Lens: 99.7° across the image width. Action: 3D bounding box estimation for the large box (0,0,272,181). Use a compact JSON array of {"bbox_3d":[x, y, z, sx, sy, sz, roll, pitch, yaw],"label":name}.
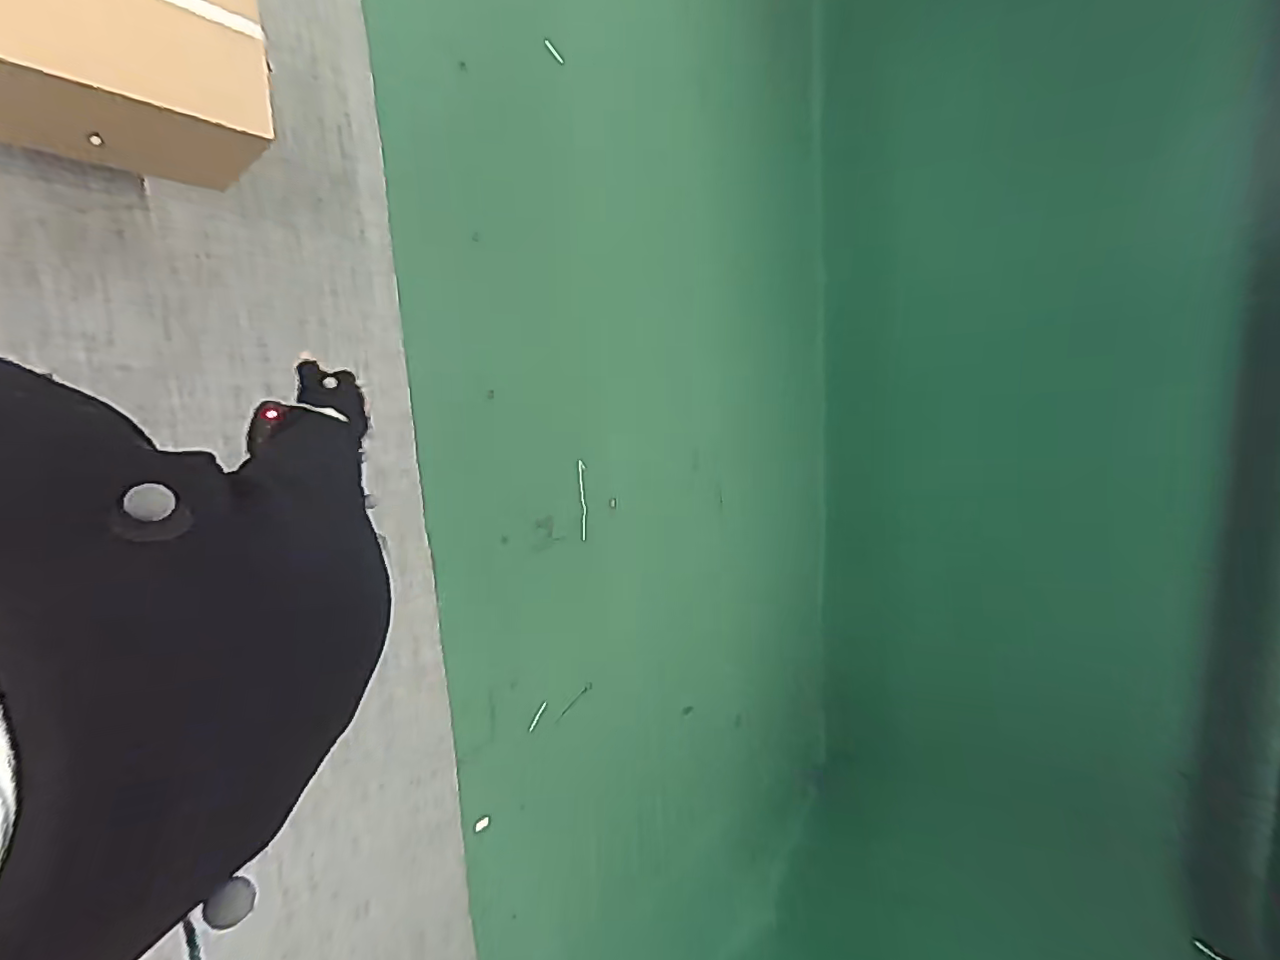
[{"bbox_3d":[-0.860,-0.708,0.828,0.408,0.320,0.320,-12,102,-49],"label":"large box"}]
